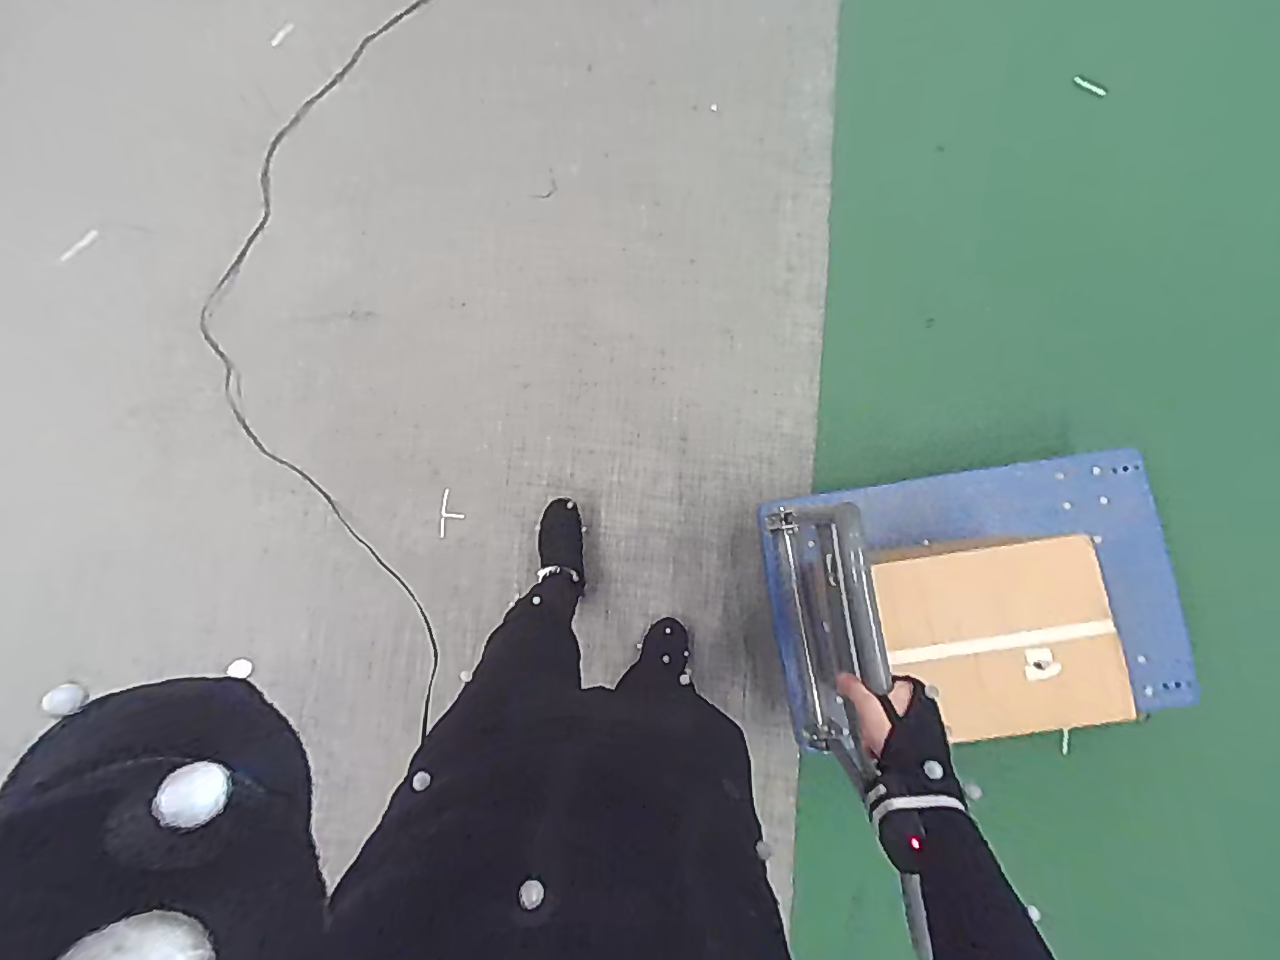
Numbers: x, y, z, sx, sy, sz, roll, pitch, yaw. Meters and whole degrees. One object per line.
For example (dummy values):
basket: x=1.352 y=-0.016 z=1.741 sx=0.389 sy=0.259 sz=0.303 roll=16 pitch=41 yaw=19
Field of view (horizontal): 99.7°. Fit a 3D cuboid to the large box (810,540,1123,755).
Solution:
large box: x=0.602 y=0.308 z=1.082 sx=0.408 sy=0.320 sz=0.320 roll=-9 pitch=83 yaw=2
